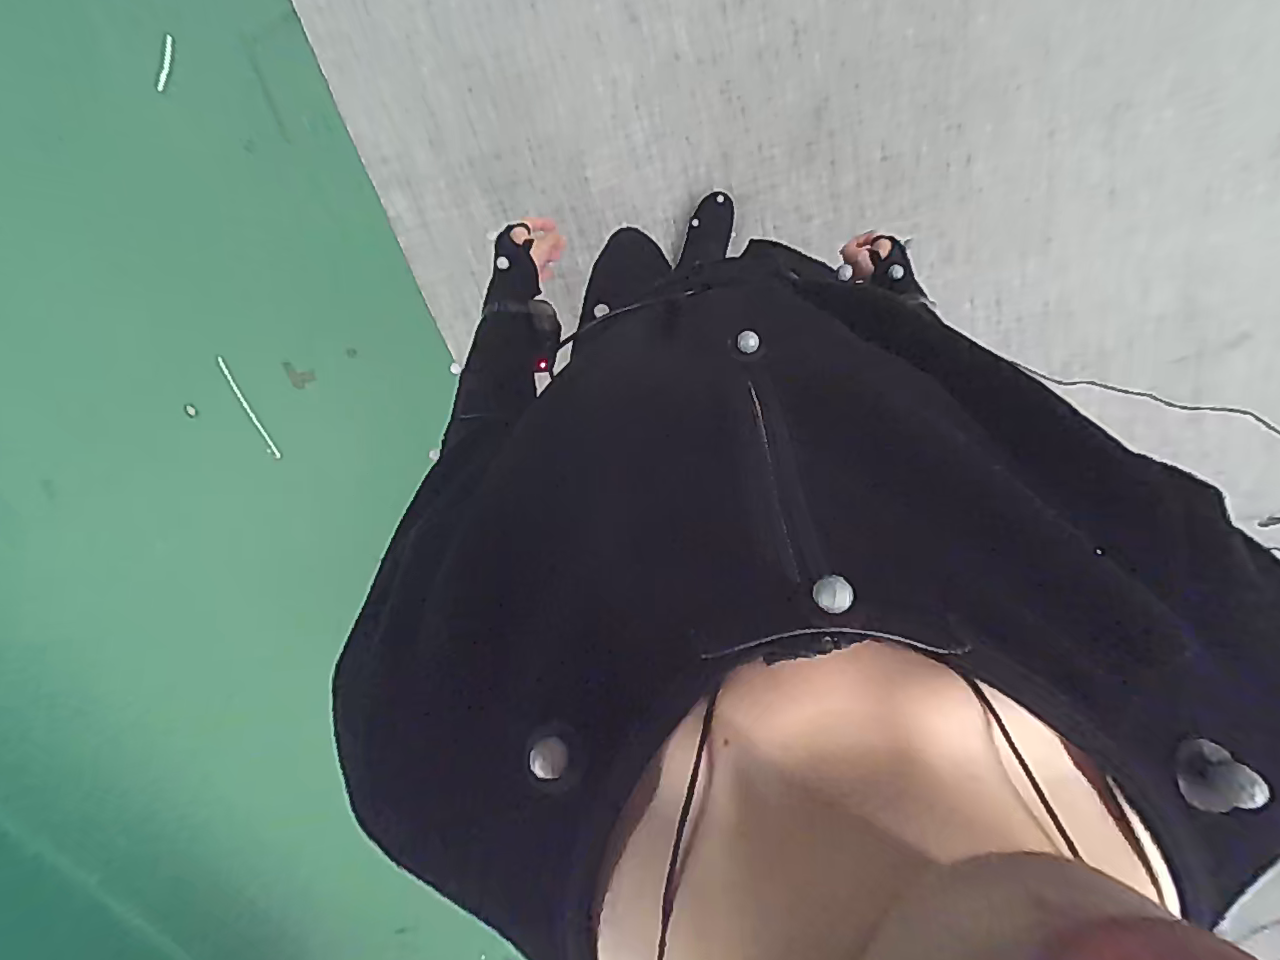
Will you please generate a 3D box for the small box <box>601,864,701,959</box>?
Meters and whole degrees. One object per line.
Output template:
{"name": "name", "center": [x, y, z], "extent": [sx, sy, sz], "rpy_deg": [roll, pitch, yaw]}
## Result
{"name": "small box", "center": [0.032, 0.980, 1.183], "extent": [0.179, 0.176, 0.168], "rpy_deg": [-16, 114, 11]}
